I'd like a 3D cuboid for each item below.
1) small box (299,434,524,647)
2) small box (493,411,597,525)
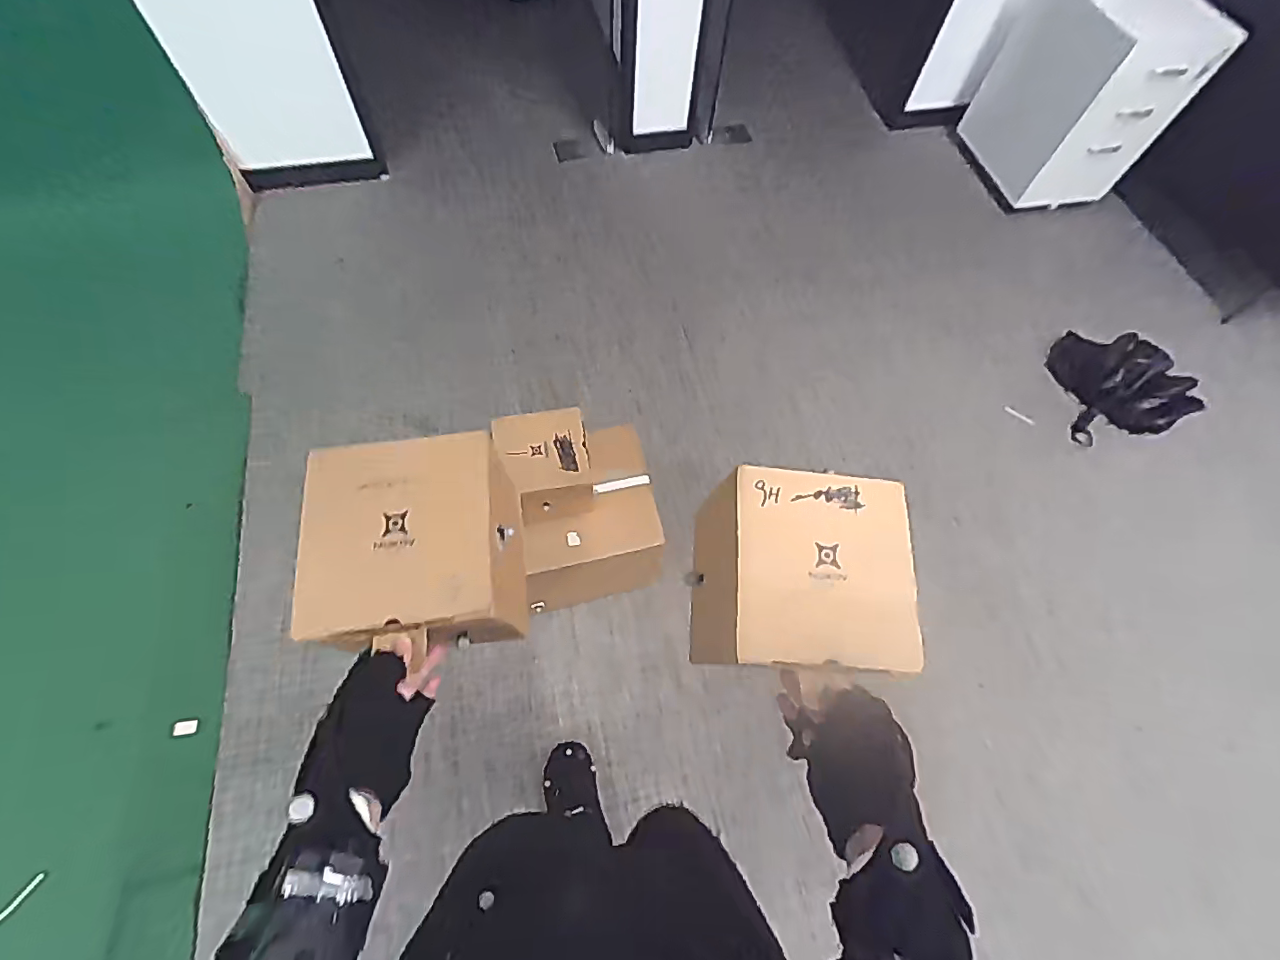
[{"bbox_3d":[-0.220,0.073,0.565,0.168,0.176,0.179,-7,67,-4],"label":"small box"},{"bbox_3d":[-0.191,-0.020,1.102,0.179,0.176,0.168,-11,71,-9],"label":"small box"}]
